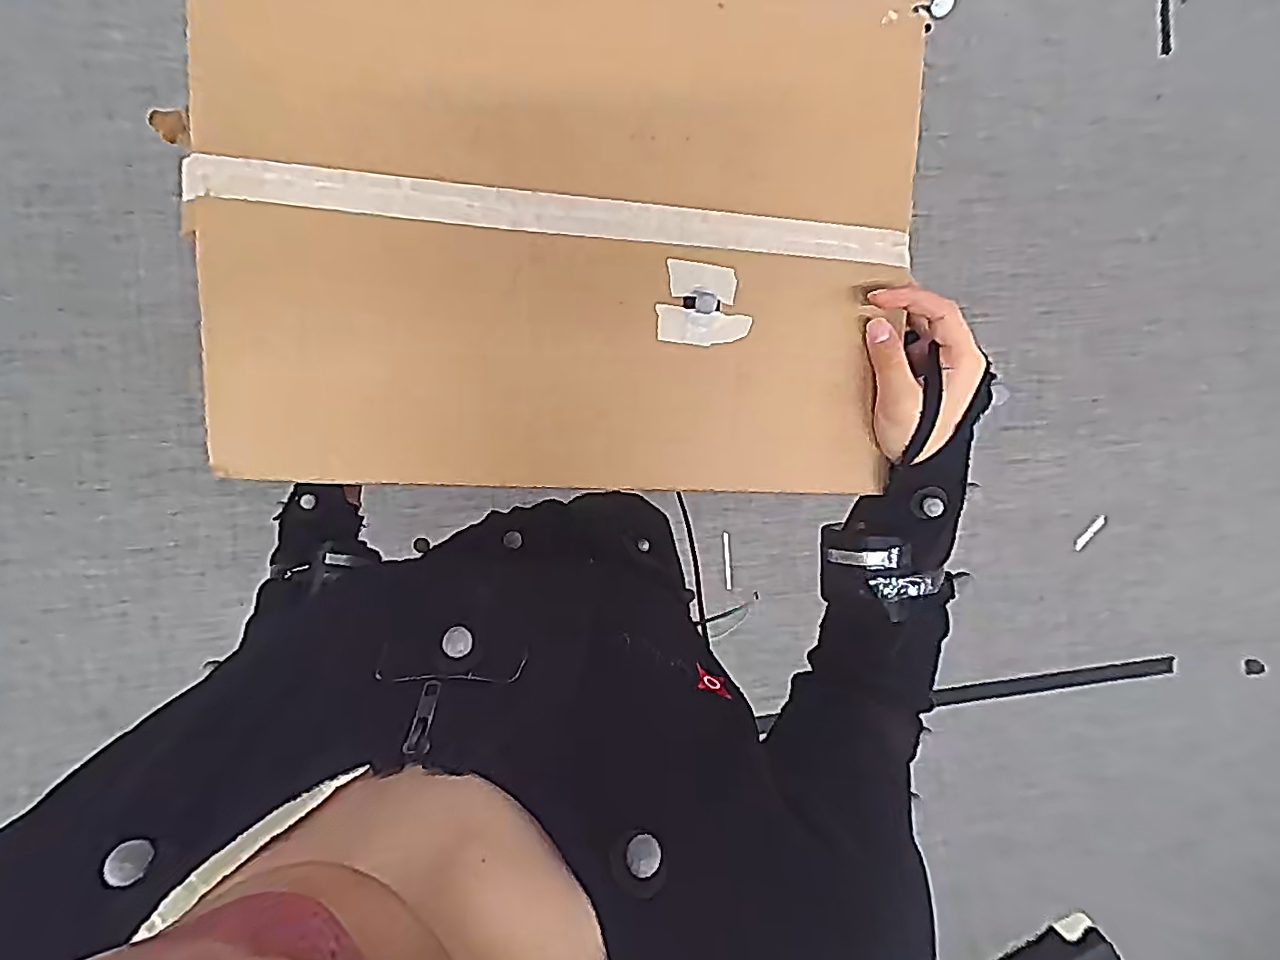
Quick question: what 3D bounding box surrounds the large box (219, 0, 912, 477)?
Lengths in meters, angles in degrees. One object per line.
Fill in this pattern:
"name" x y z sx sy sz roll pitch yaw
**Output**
"large box" -0.053 -0.171 0.466 0.408 0.320 0.320 1 96 -11
